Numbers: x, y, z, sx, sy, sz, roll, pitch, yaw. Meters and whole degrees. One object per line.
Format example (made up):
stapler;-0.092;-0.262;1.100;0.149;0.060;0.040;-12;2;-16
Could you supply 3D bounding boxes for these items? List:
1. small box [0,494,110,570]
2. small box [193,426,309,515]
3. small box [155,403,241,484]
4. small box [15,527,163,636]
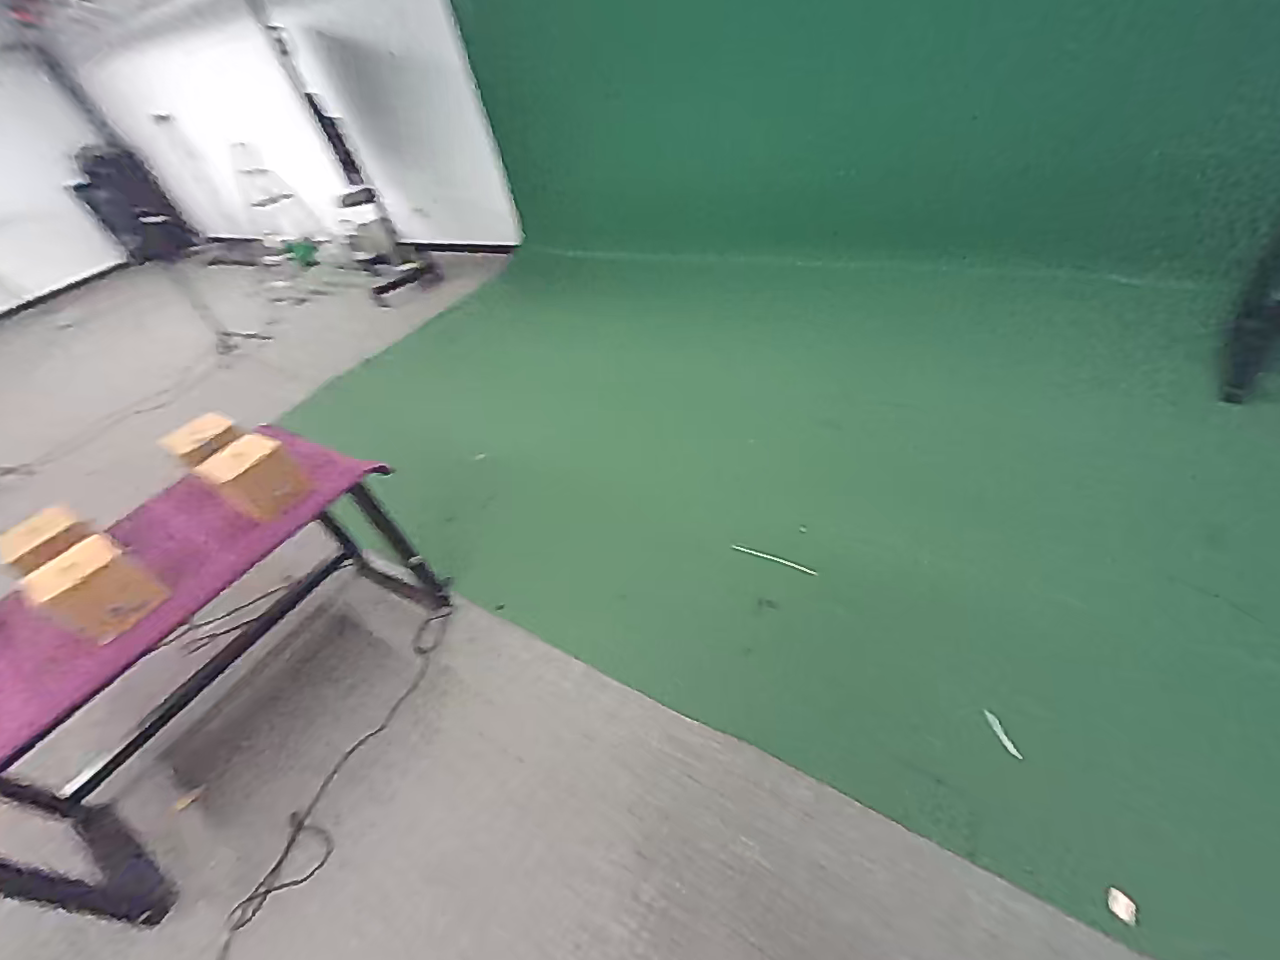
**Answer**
small box;-1.579;0.170;1.453;0.179;0.176;0.168;21;53;30
small box;-1.090;-0.026;1.525;0.179;0.176;0.168;17;52;29
small box;-1.338;-0.112;1.683;0.179;0.176;0.168;18;52;30
small box;-1.321;0.247;1.305;0.179;0.176;0.168;18;51;31
